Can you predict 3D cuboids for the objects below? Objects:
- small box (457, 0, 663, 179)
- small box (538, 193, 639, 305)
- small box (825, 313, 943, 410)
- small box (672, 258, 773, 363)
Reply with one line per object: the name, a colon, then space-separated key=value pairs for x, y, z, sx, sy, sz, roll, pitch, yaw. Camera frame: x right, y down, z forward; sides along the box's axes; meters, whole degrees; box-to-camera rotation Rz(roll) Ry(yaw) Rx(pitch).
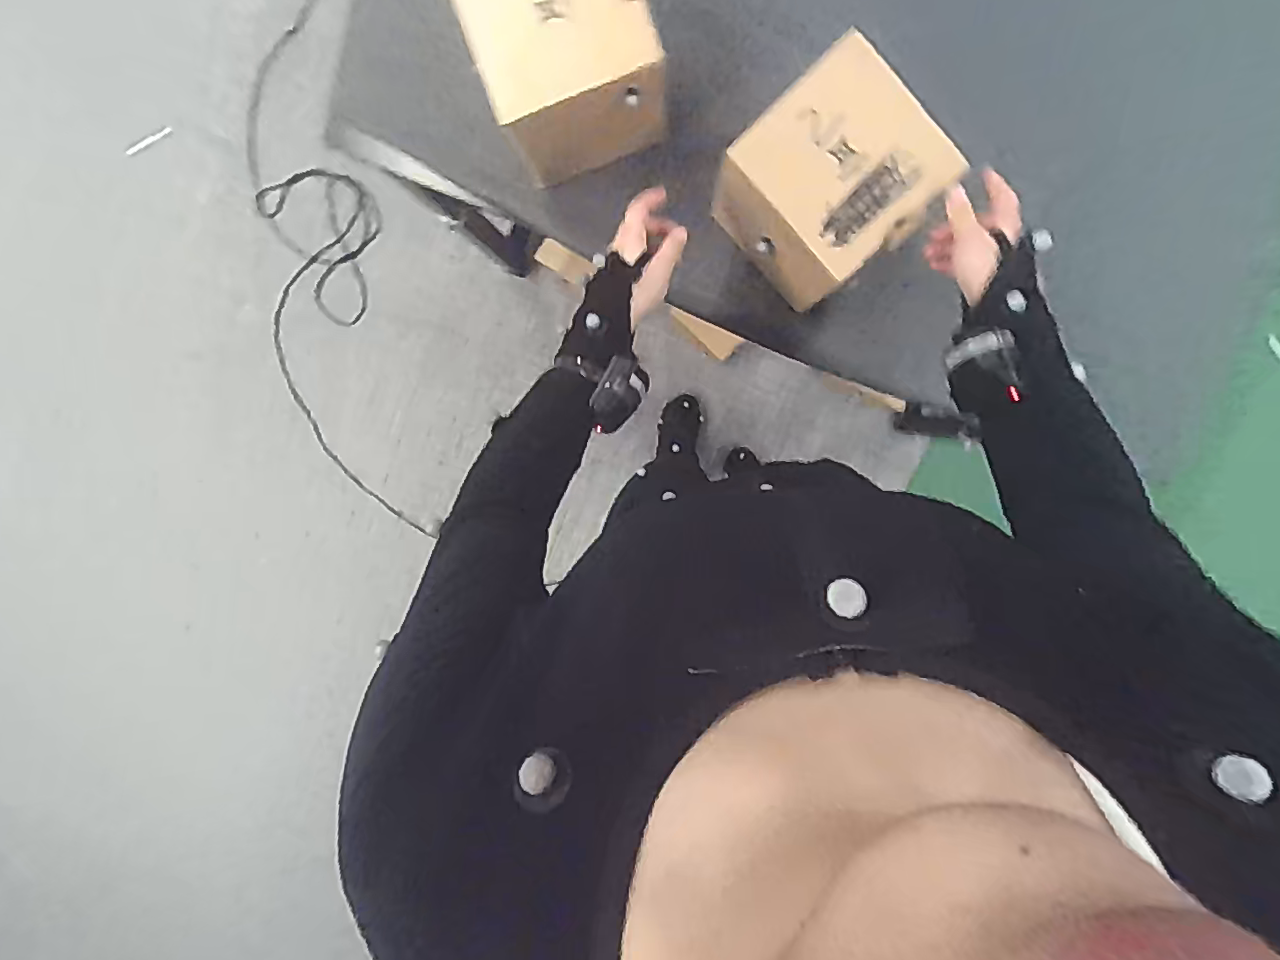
small box: x=-0.079 y=-0.471 z=0.598 sx=0.179 sy=0.176 sz=0.168 roll=-19 pitch=96 yaw=5
small box: x=-0.118 y=-0.552 z=1.325 sx=0.179 sy=0.176 sz=0.168 roll=35 pitch=98 yaw=-1
small box: x=0.583 y=-0.281 z=1.323 sx=0.179 sy=0.176 sz=0.168 roll=28 pitch=99 yaw=-2
small box: x=0.196 y=-0.404 z=1.328 sx=0.179 sy=0.176 sz=0.168 roll=43 pitch=97 yaw=-2
